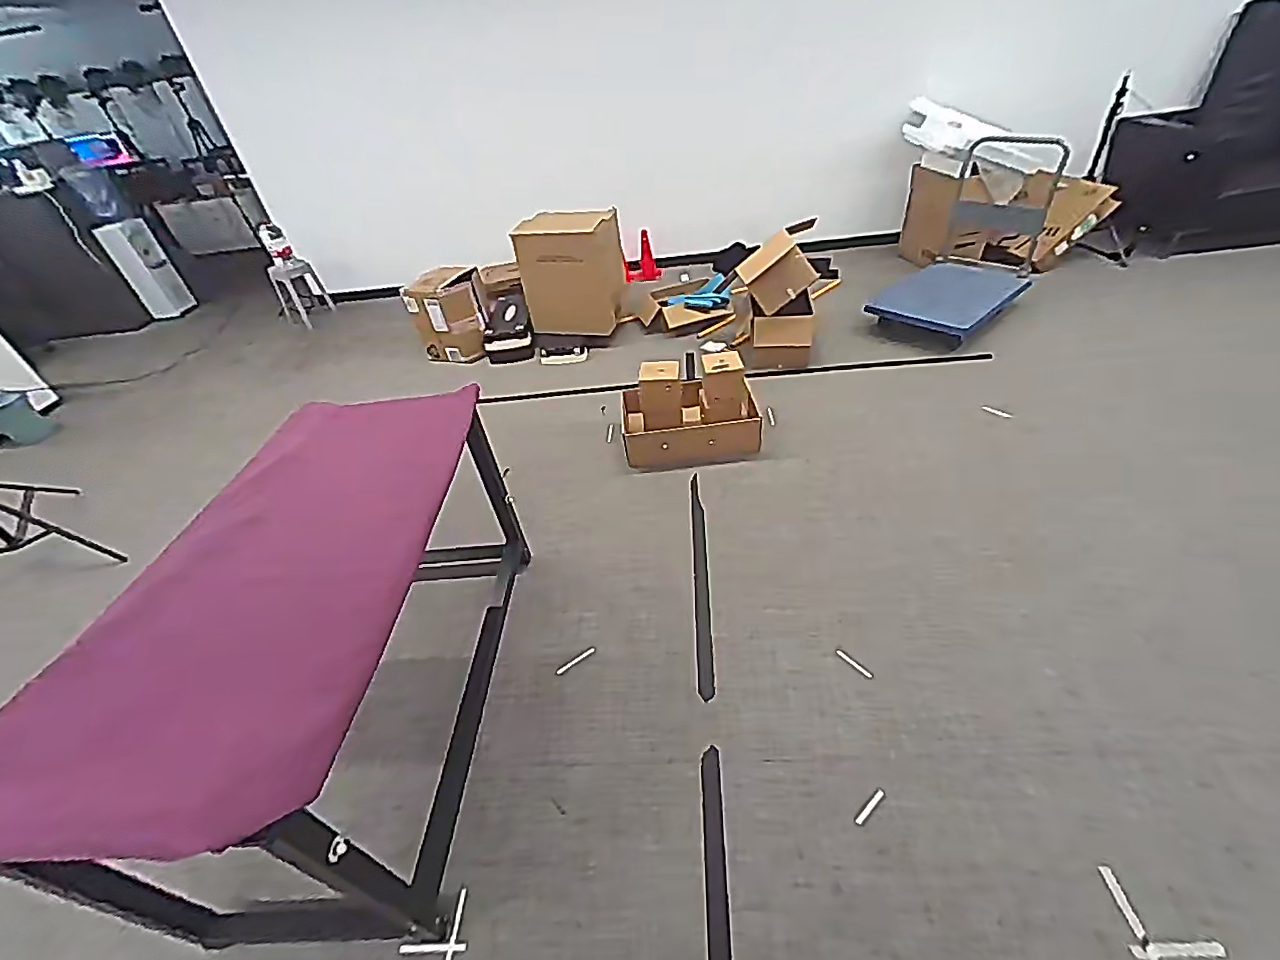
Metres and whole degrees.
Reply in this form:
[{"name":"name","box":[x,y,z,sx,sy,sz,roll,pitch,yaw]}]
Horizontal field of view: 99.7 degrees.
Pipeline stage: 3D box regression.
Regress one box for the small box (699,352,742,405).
[{"name":"small box","box":[0.362,-0.449,2.420,0.168,0.176,0.179,-7,38,2]}]

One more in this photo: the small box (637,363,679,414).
[{"name":"small box","box":[0.086,-0.407,2.424,0.179,0.176,0.168,-1,39,7]}]

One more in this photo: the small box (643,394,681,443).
[{"name":"small box","box":[0.106,-0.291,2.541,0.168,0.176,0.179,1,40,9]}]
